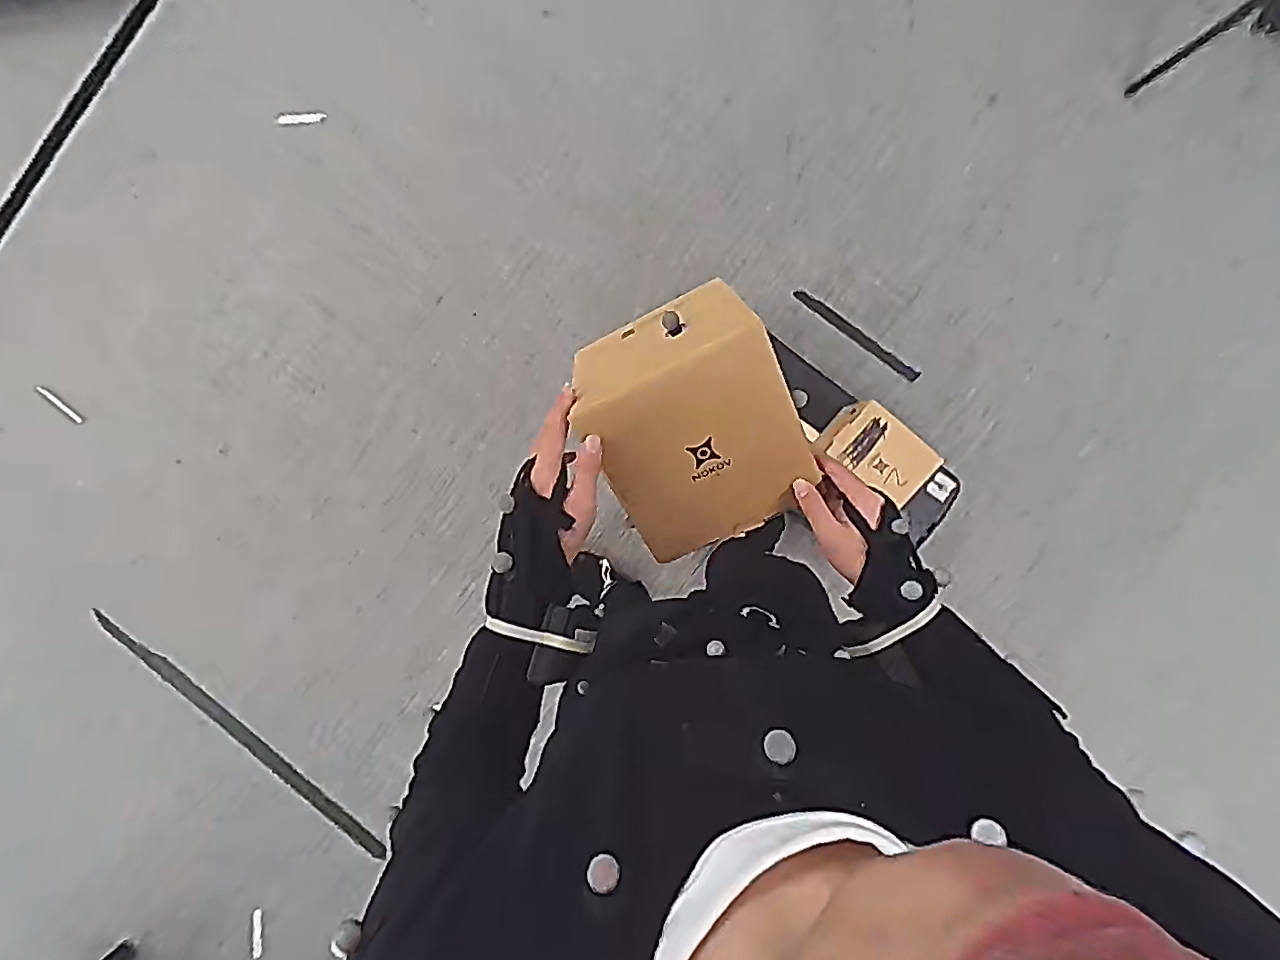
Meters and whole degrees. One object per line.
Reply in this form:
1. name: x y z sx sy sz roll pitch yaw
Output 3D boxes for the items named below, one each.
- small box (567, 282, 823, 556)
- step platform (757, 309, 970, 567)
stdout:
1. small box: 0.044 -0.068 0.512 0.168 0.176 0.179 -26 121 11
2. step platform: 0.386 -0.103 1.249 0.684 0.204 0.286 38 93 3
